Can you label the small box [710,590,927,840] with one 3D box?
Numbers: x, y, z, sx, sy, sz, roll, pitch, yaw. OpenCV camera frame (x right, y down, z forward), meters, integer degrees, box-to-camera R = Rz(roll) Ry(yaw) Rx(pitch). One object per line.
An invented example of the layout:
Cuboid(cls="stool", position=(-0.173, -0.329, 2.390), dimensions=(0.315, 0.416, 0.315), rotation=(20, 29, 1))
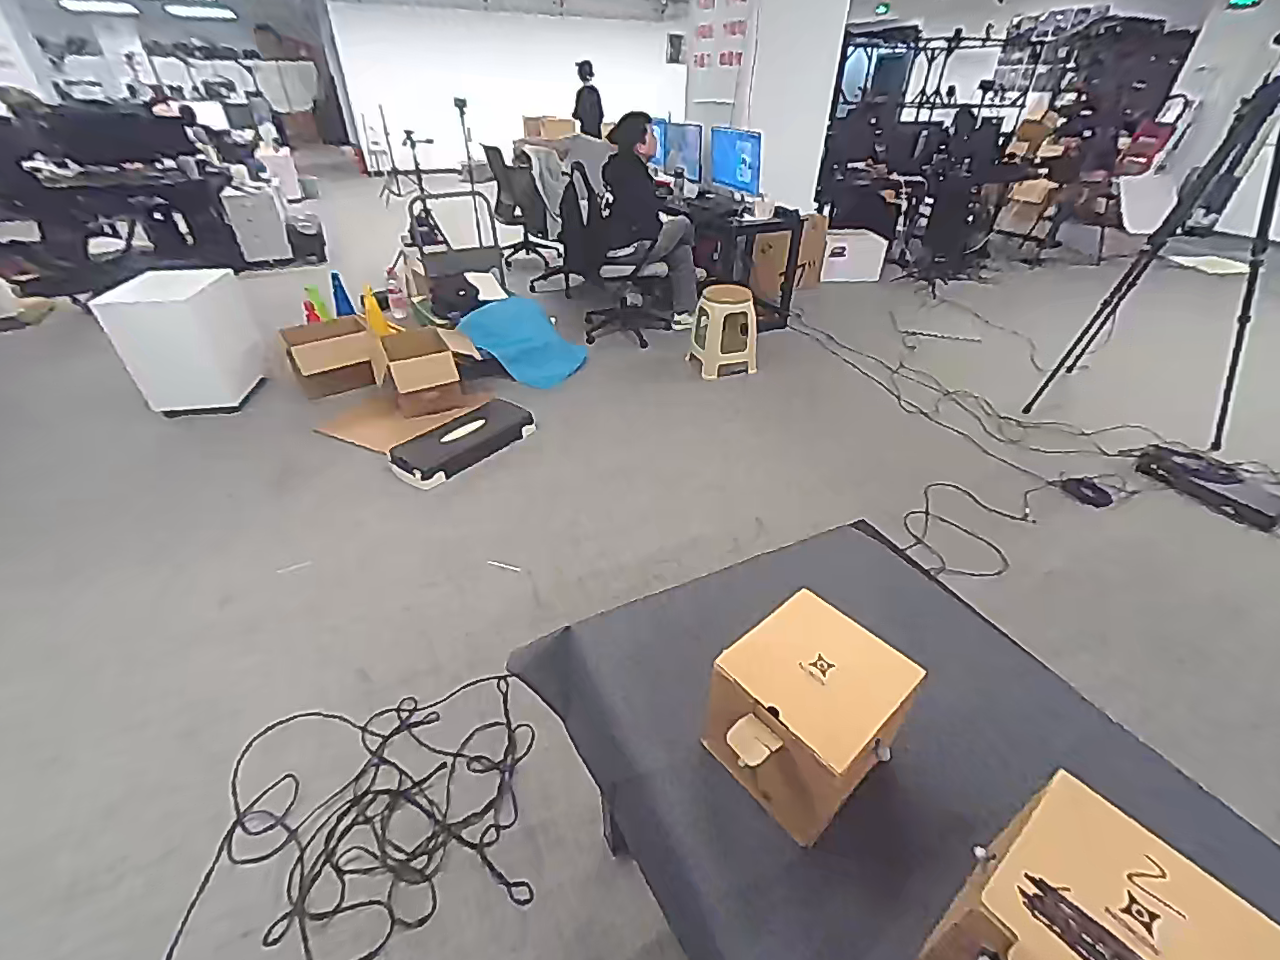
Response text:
Cuboid(cls="small box", position=(0.199, 0.273, 0.645), dimensions=(0.179, 0.176, 0.168), rotation=(-27, 44, -32))
